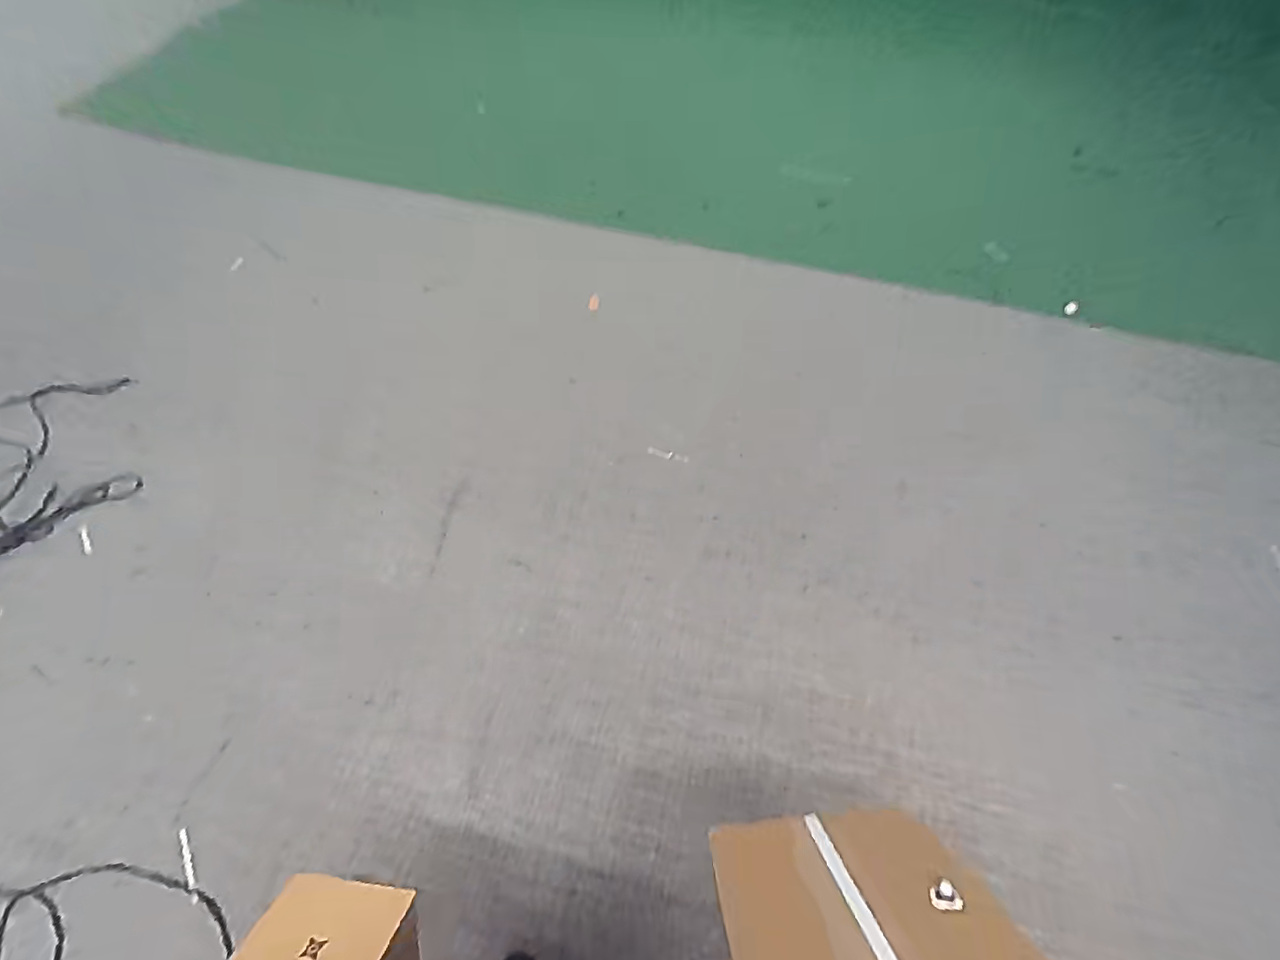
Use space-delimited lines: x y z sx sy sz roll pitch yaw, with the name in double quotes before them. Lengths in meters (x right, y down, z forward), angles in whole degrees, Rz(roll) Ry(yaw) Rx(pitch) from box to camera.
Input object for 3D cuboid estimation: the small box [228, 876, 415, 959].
"small box" -0.380 0.616 0.628 0.168 0.176 0.179 4 14 5
